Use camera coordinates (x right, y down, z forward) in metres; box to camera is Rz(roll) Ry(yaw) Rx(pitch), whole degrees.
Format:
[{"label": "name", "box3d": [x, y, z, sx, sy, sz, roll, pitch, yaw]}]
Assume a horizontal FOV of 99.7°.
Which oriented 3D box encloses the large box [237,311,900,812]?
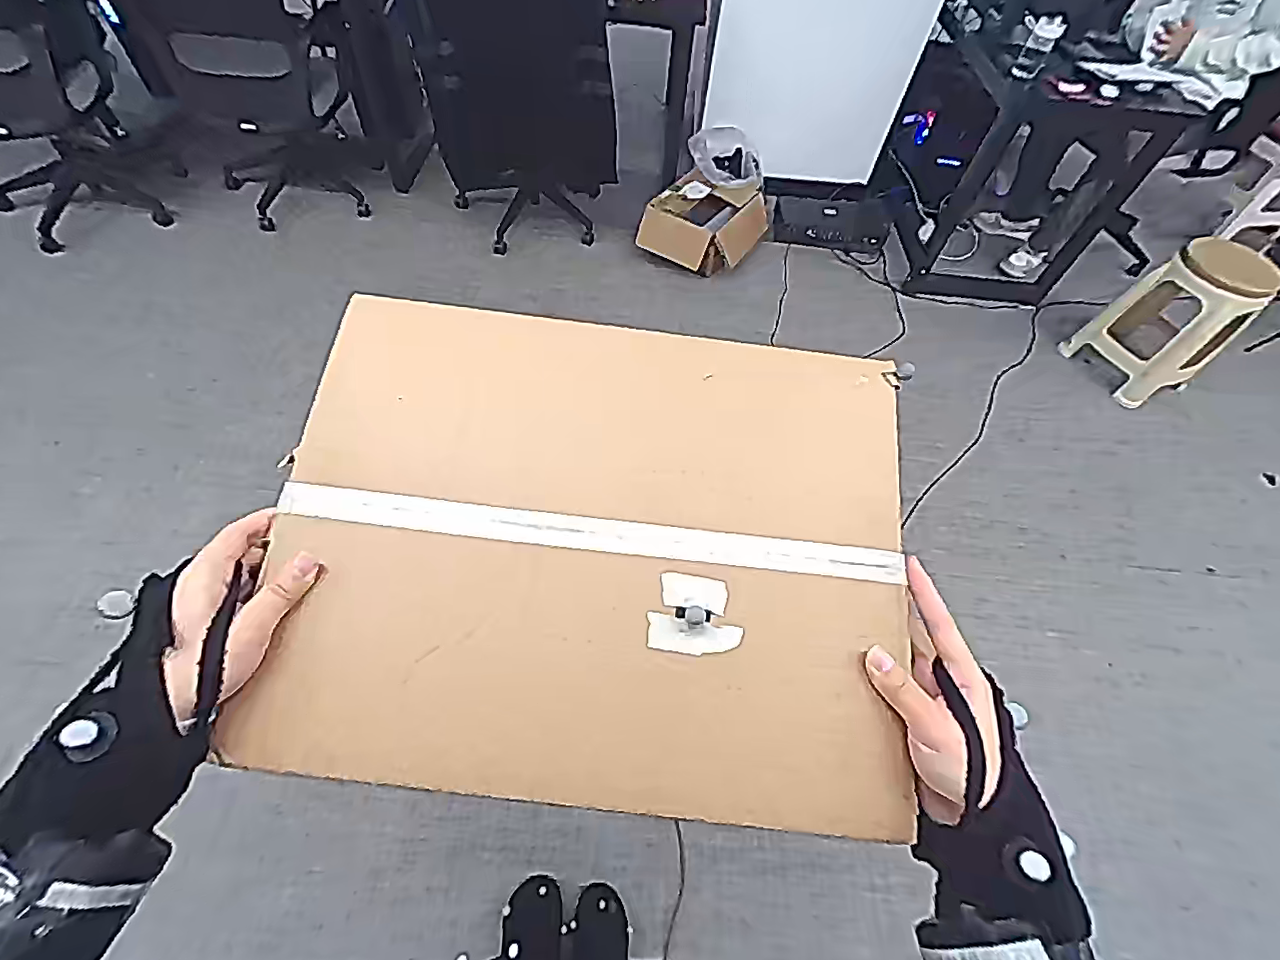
[{"label": "large box", "box3d": [-0.036, 0.081, 0.507, 0.408, 0.320, 0.320, 7, 72, -1]}]
